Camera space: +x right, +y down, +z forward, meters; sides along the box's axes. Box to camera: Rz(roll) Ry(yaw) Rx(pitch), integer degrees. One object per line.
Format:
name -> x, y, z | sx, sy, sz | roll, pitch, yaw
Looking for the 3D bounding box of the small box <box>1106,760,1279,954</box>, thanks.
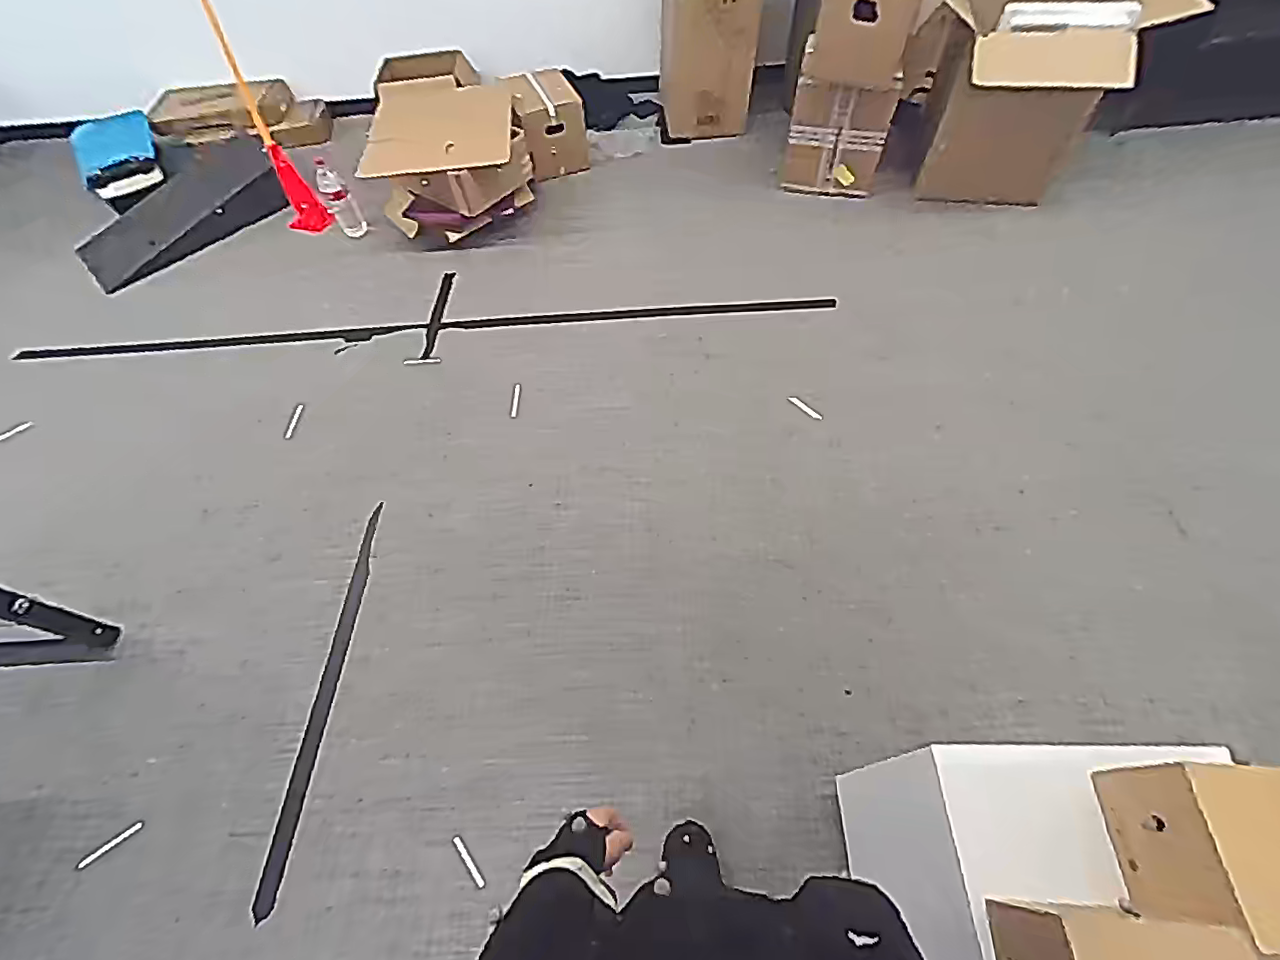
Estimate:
small box -> 0.681, 0.422, 0.608 | 0.179, 0.176, 0.168 | 2, 58, 5
